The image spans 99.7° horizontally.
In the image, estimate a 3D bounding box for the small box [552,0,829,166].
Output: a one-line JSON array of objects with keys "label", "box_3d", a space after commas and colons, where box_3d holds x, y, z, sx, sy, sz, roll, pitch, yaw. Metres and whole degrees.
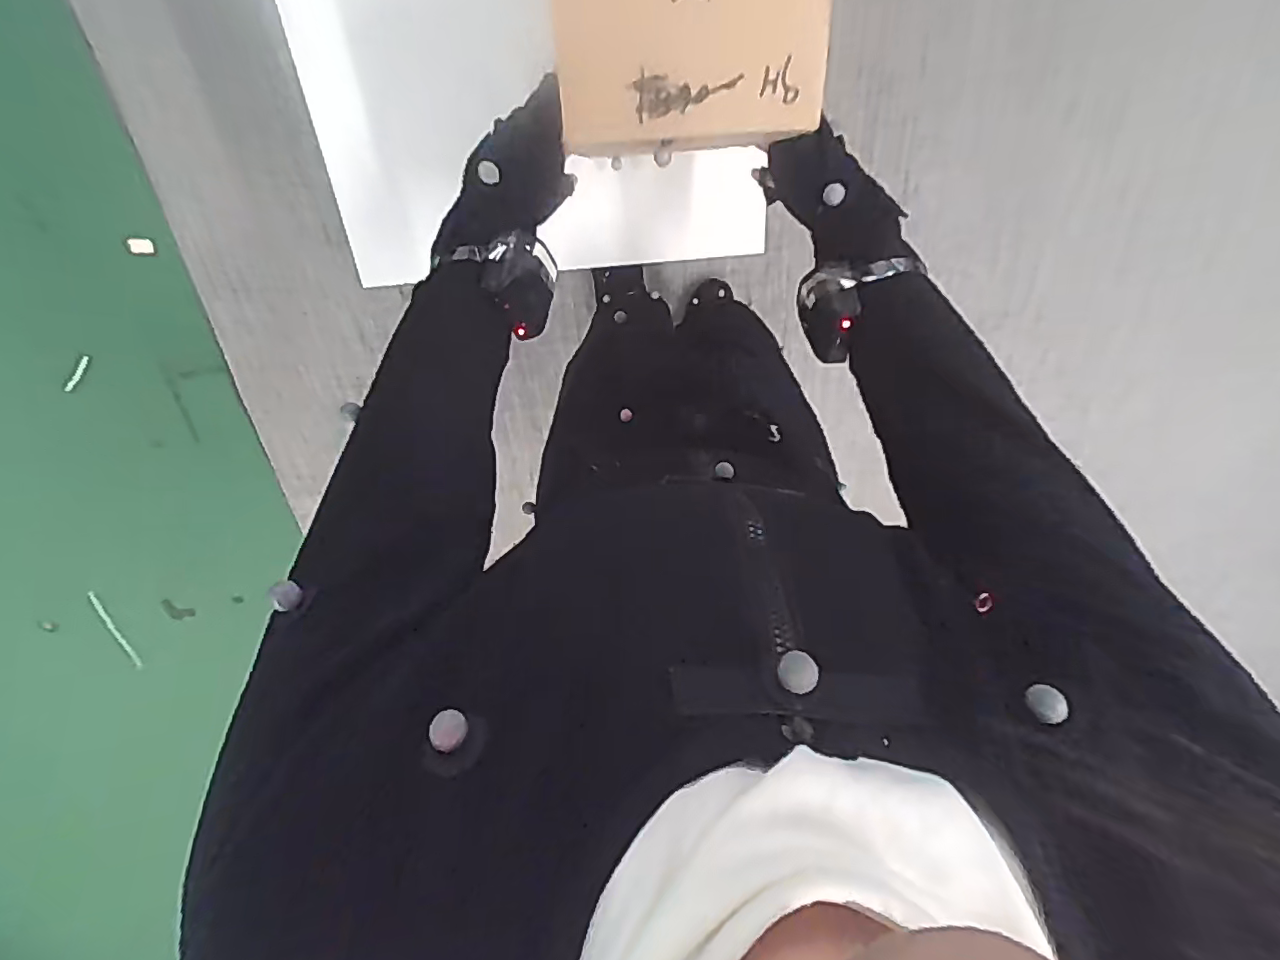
[{"label": "small box", "box_3d": [0.024, -0.329, 0.378, 0.168, 0.176, 0.179, -5, 118, -1]}]
